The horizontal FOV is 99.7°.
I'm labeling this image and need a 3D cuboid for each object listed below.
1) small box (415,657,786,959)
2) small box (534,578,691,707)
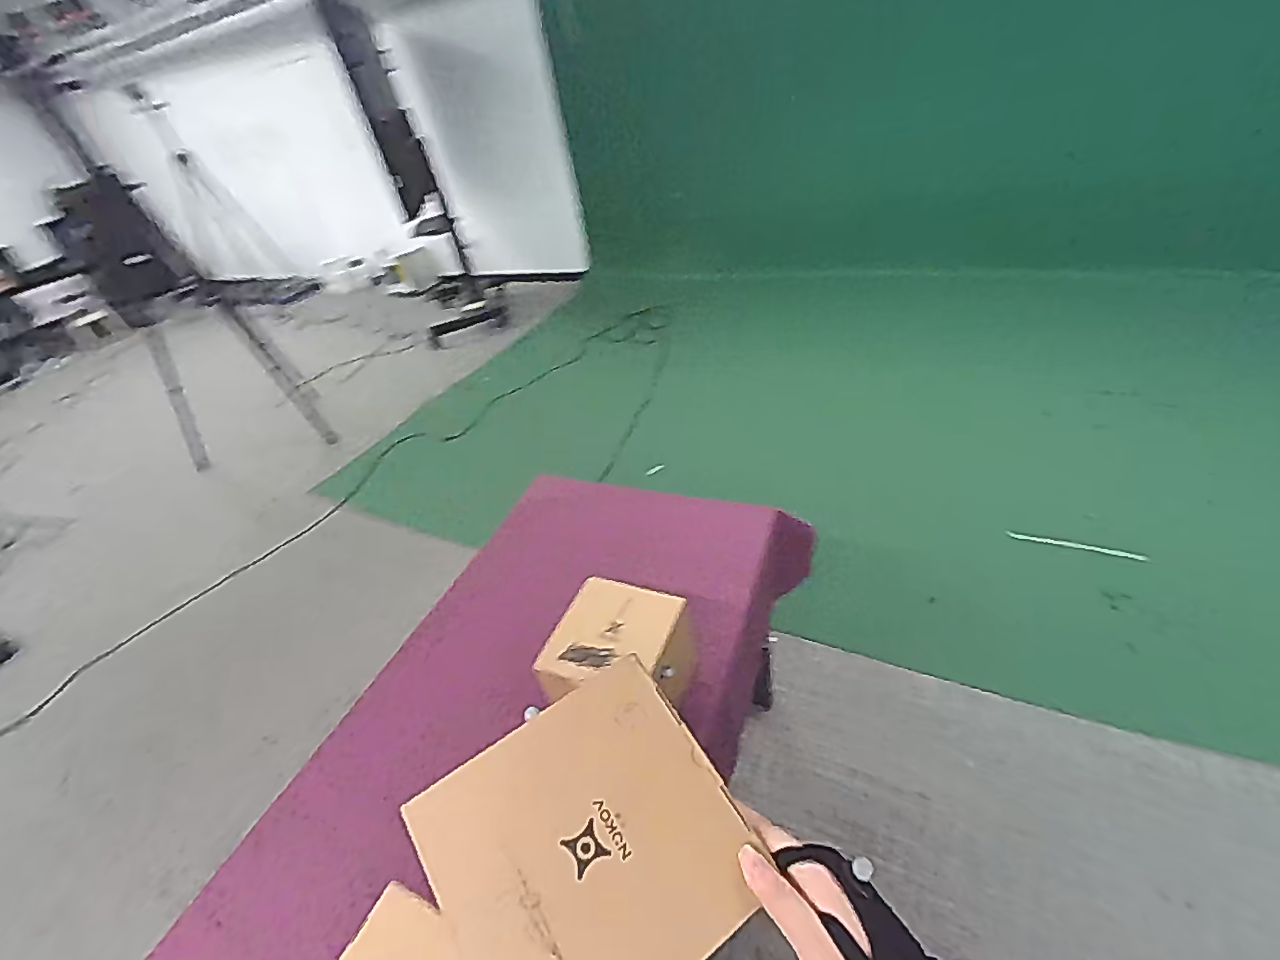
[{"bbox_3d":[-0.030,0.263,0.396,0.179,0.176,0.168,-28,62,-19],"label":"small box"},{"bbox_3d":[-0.029,0.284,0.830,0.168,0.176,0.179,8,42,25],"label":"small box"}]
